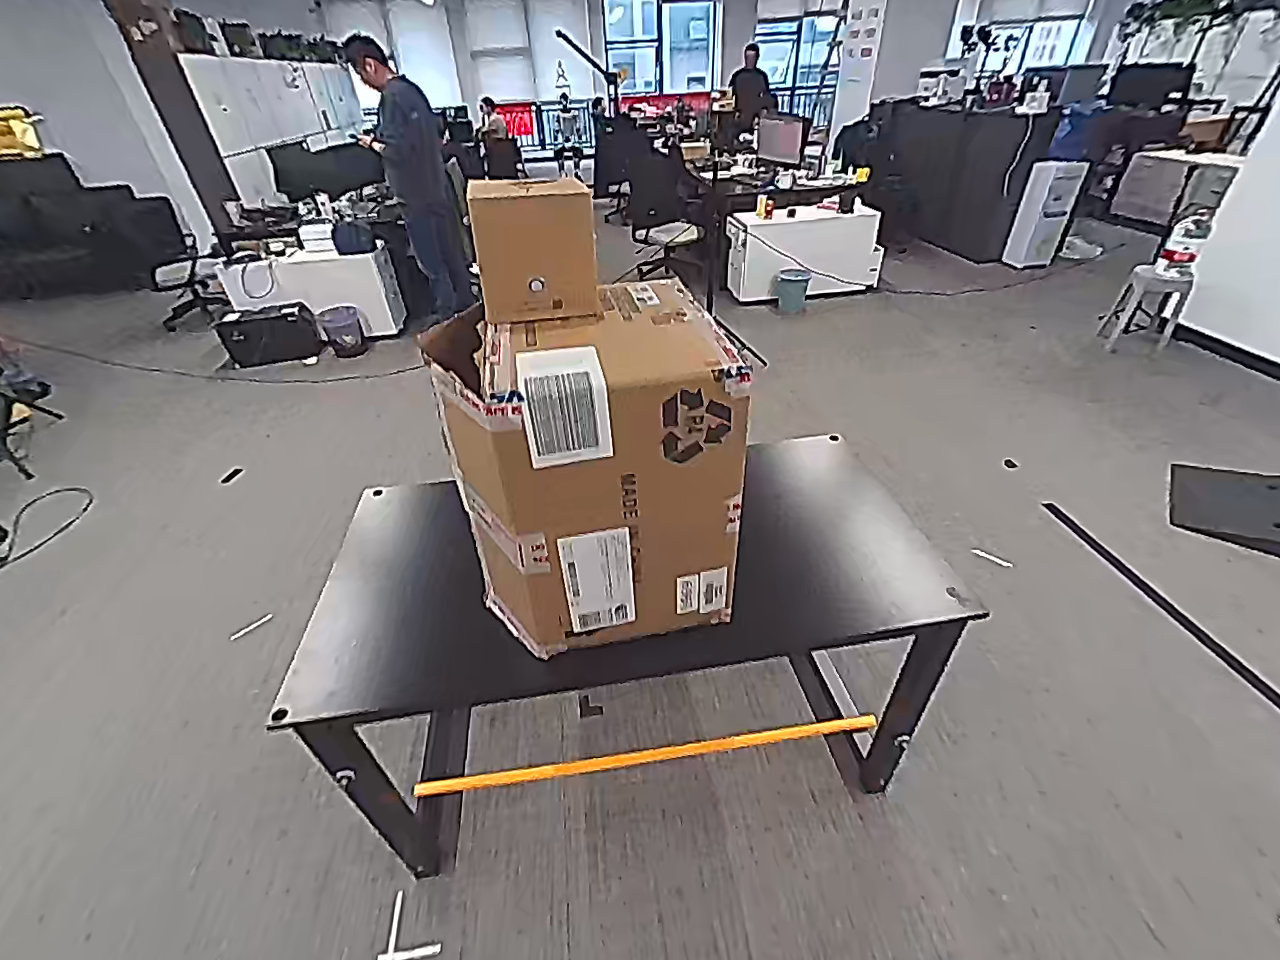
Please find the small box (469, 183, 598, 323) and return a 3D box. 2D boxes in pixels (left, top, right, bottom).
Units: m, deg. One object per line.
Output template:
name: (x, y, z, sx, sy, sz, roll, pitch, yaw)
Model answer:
small box: (-0.161, -0.351, 0.829, 0.168, 0.176, 0.179, -9, 36, -10)
